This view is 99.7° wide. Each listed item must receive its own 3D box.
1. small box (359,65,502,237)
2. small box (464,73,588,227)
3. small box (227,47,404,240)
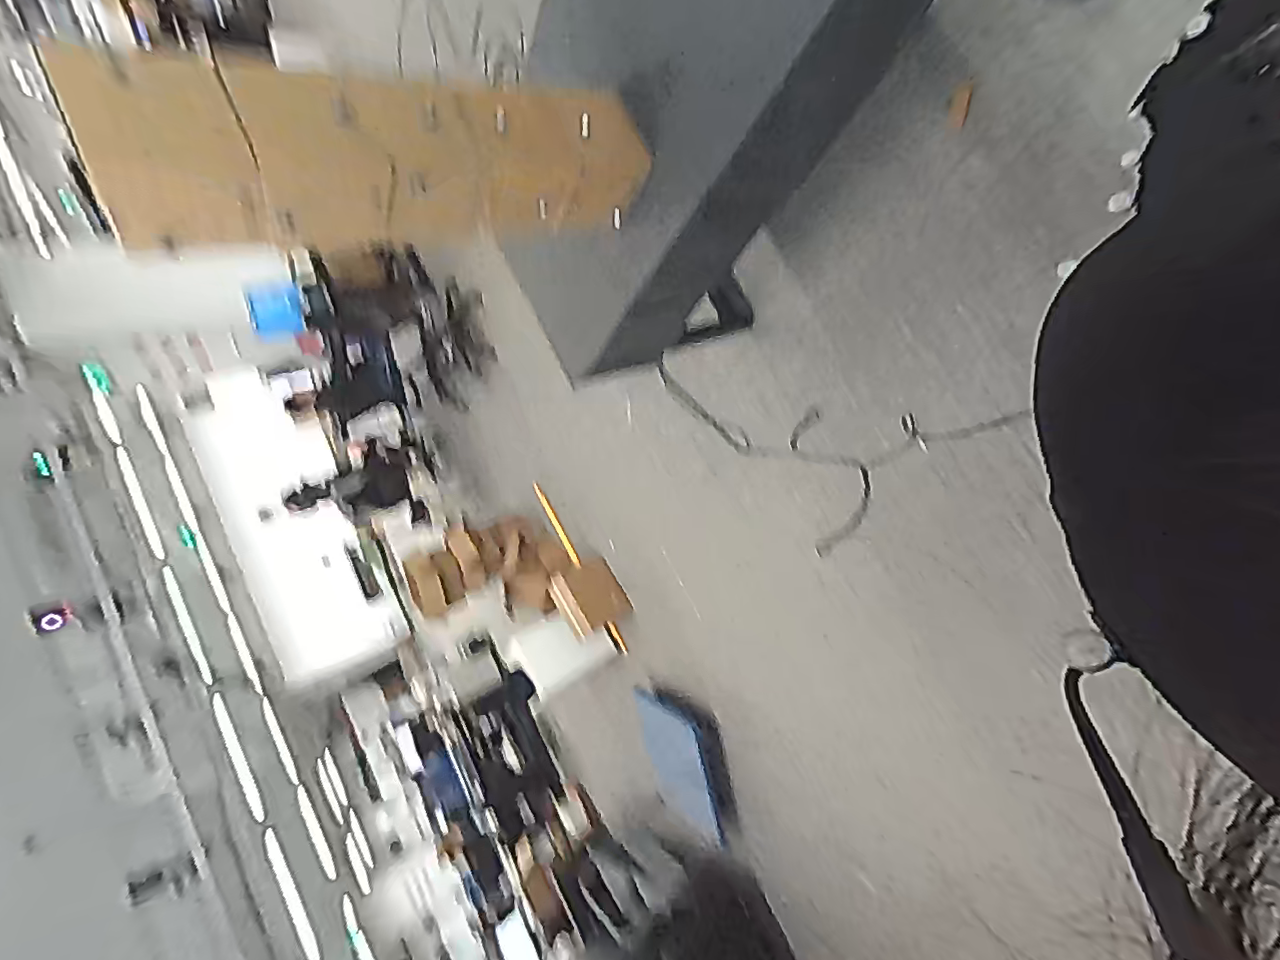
[{"bbox_3d":[-0.348,-0.536,0.895,0.179,0.176,0.168,-36,79,56],"label":"small box"},{"bbox_3d":[-0.222,-0.590,0.986,0.179,0.176,0.168,63,147,7],"label":"small box"},{"bbox_3d":[-0.473,-0.485,0.802,0.168,0.176,0.179,-34,80,56],"label":"small box"}]
